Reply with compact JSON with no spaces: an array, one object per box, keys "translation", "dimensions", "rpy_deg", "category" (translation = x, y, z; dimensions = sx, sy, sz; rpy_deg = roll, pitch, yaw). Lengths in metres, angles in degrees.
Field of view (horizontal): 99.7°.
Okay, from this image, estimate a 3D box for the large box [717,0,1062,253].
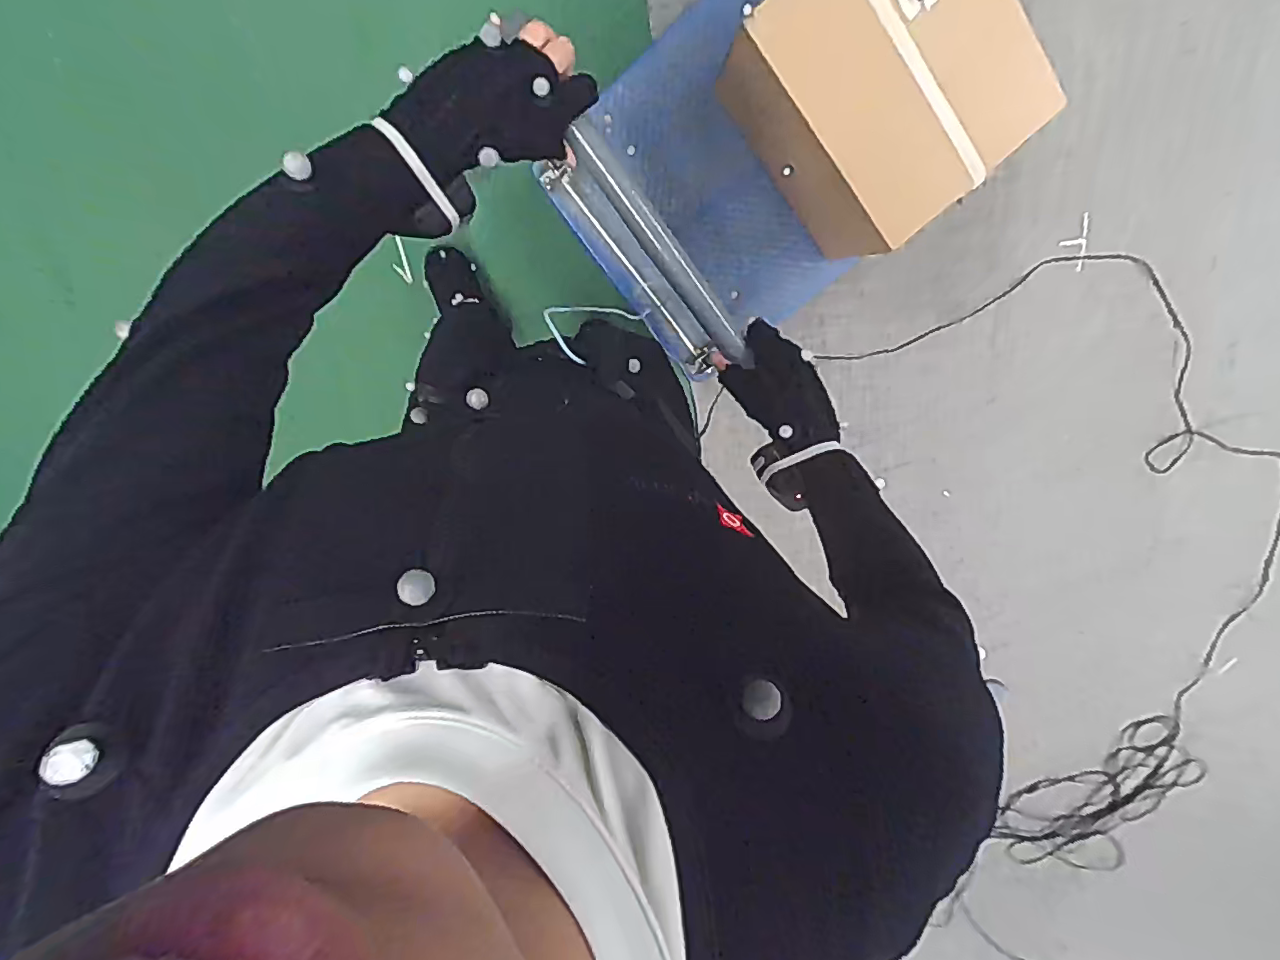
[{"translation":[0.390,-0.662,0.932],"dimensions":[0.320,0.320,0.408],"rpy_deg":[-40,105,12],"category":"large box"}]
